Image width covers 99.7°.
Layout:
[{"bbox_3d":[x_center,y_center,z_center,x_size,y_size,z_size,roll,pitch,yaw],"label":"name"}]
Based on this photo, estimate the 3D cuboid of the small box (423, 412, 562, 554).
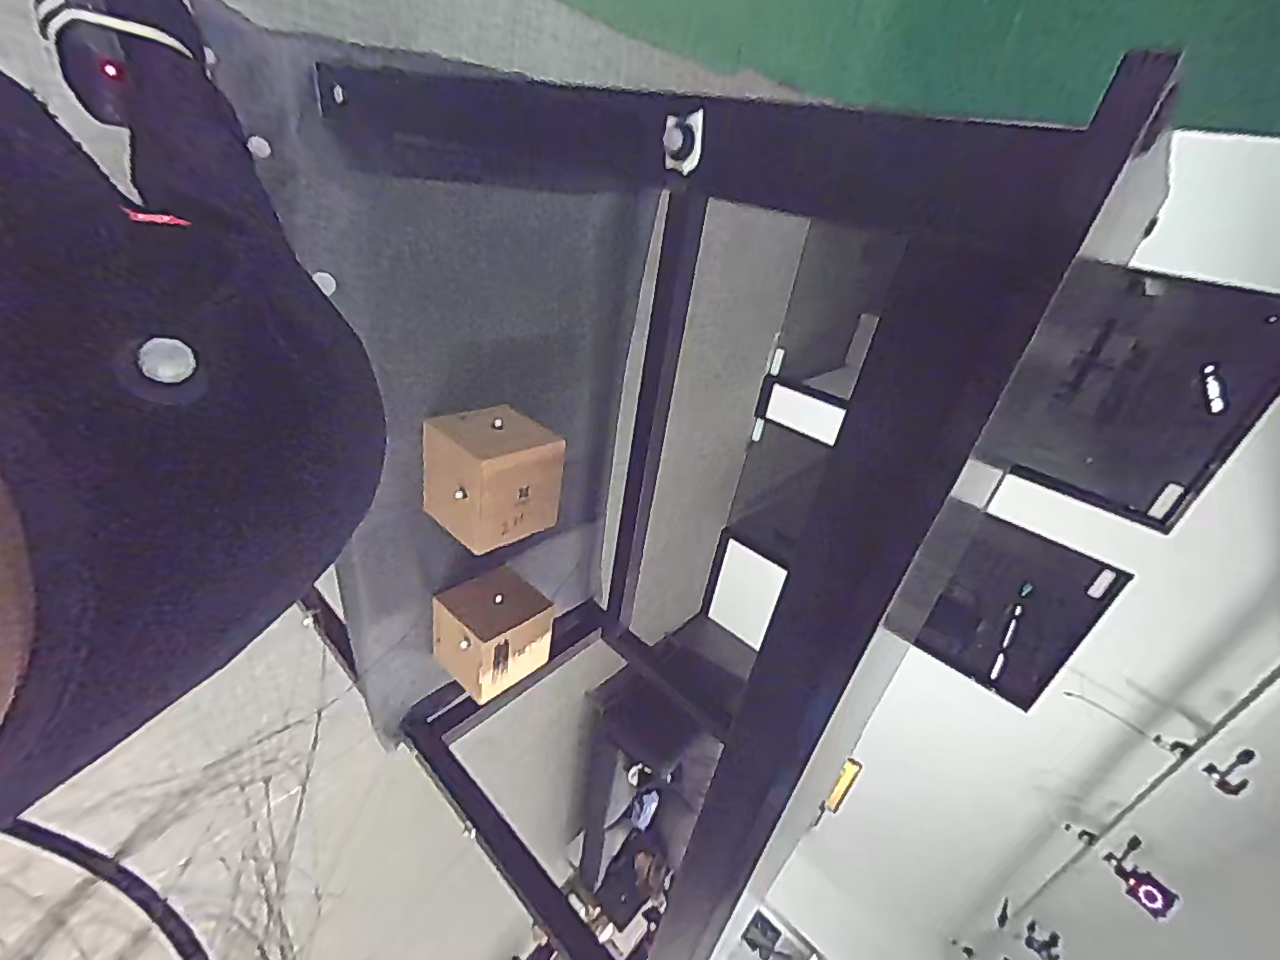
[{"bbox_3d":[-0.256,-0.007,0.927,0.168,0.176,0.179,-21,131,-45],"label":"small box"}]
